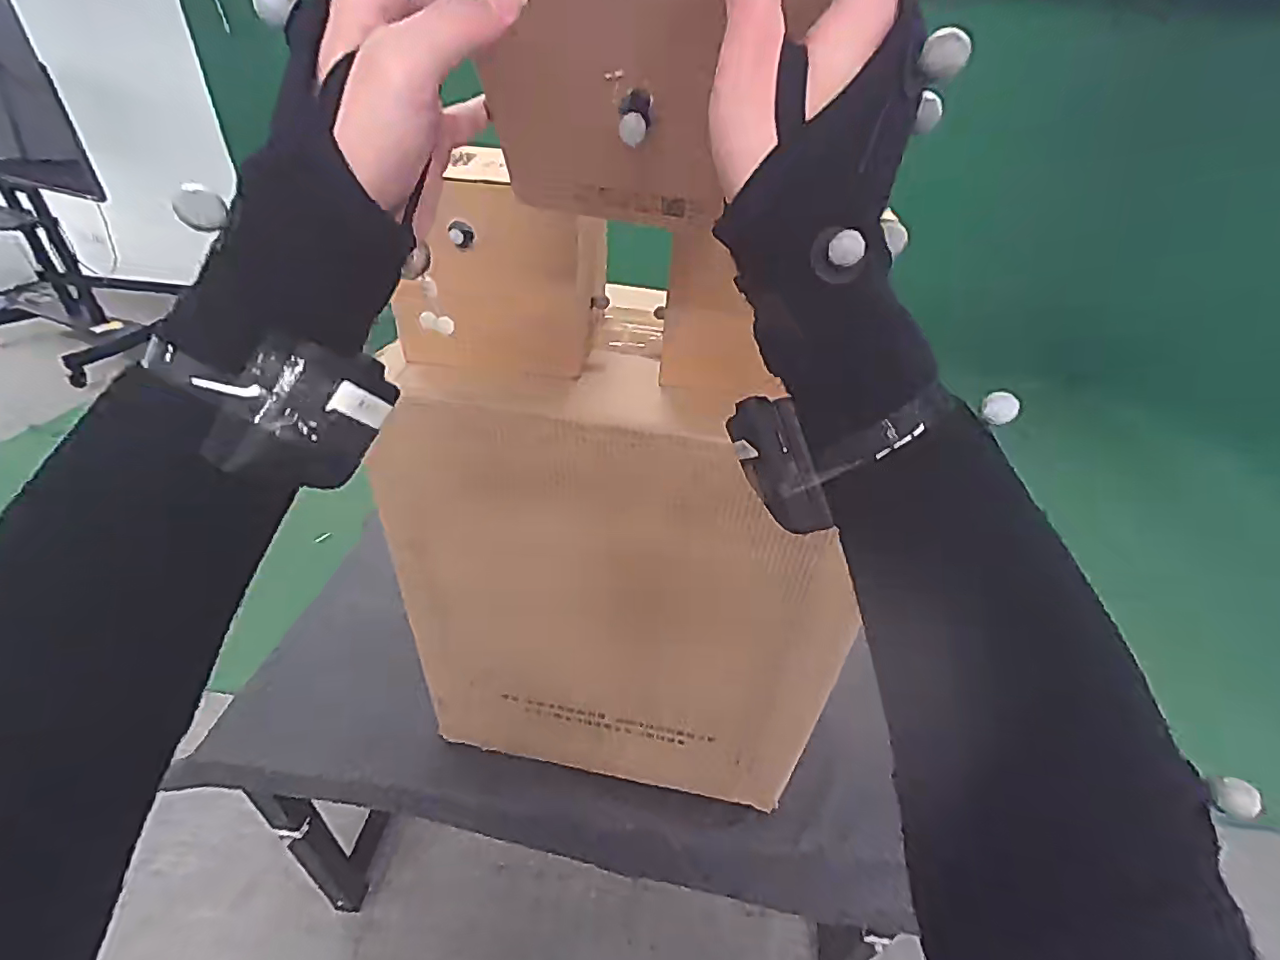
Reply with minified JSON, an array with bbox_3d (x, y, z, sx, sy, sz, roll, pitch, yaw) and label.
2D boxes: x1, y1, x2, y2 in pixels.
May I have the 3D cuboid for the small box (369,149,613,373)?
[{"bbox_3d":[-0.129,-0.223,0.548,0.179,0.176,0.168,8,41,7],"label":"small box"}]

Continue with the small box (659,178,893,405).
[{"bbox_3d":[0.120,-0.189,0.537,0.179,0.176,0.168,8,37,6],"label":"small box"}]
